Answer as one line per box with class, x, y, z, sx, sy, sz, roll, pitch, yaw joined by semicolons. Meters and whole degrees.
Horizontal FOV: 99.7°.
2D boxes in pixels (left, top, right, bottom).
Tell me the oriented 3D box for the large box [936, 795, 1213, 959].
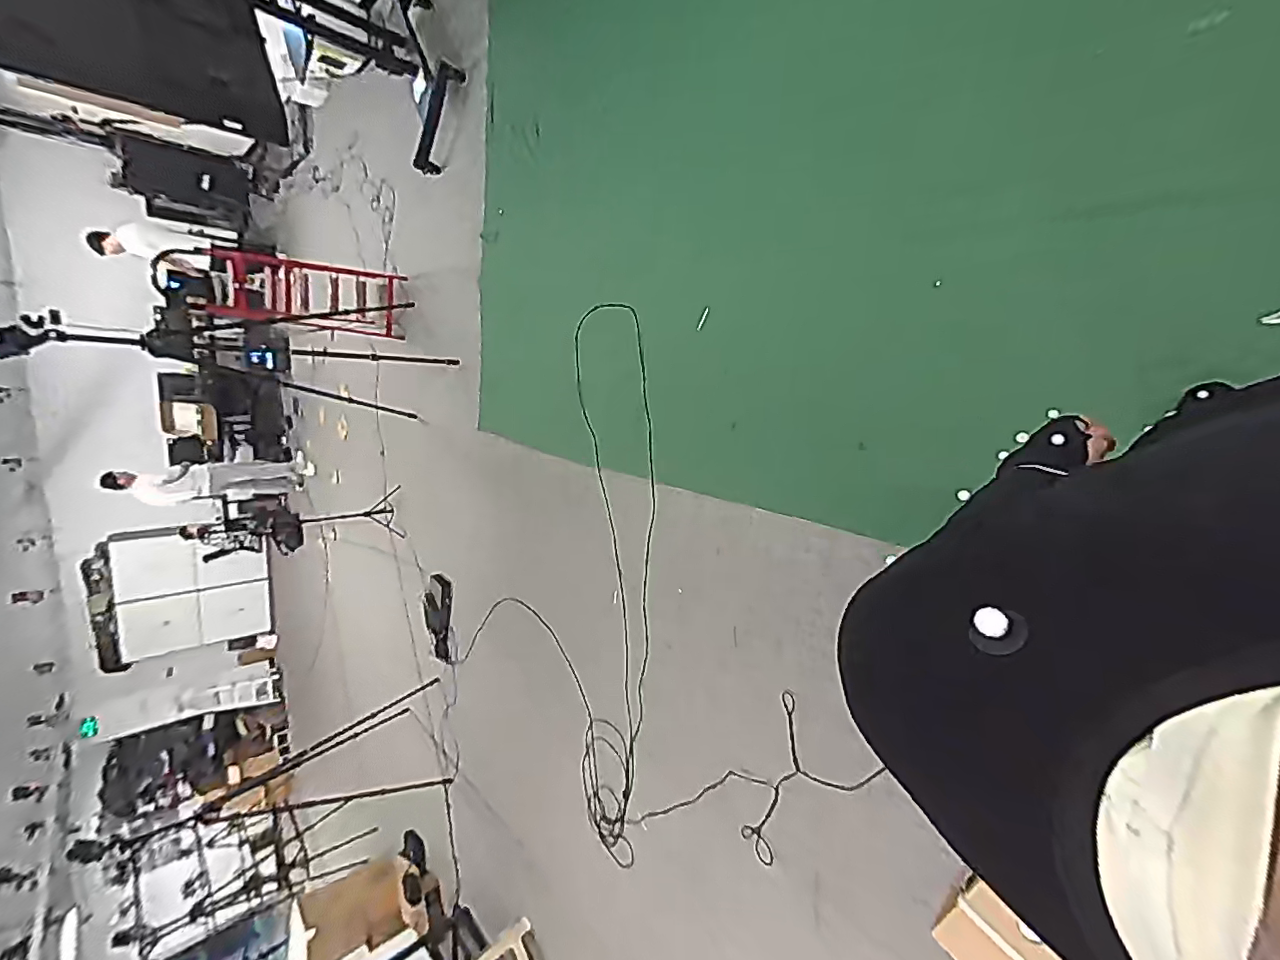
large box;1.017;1.076;1.291;0.408;0.320;0.320;38;121;36
